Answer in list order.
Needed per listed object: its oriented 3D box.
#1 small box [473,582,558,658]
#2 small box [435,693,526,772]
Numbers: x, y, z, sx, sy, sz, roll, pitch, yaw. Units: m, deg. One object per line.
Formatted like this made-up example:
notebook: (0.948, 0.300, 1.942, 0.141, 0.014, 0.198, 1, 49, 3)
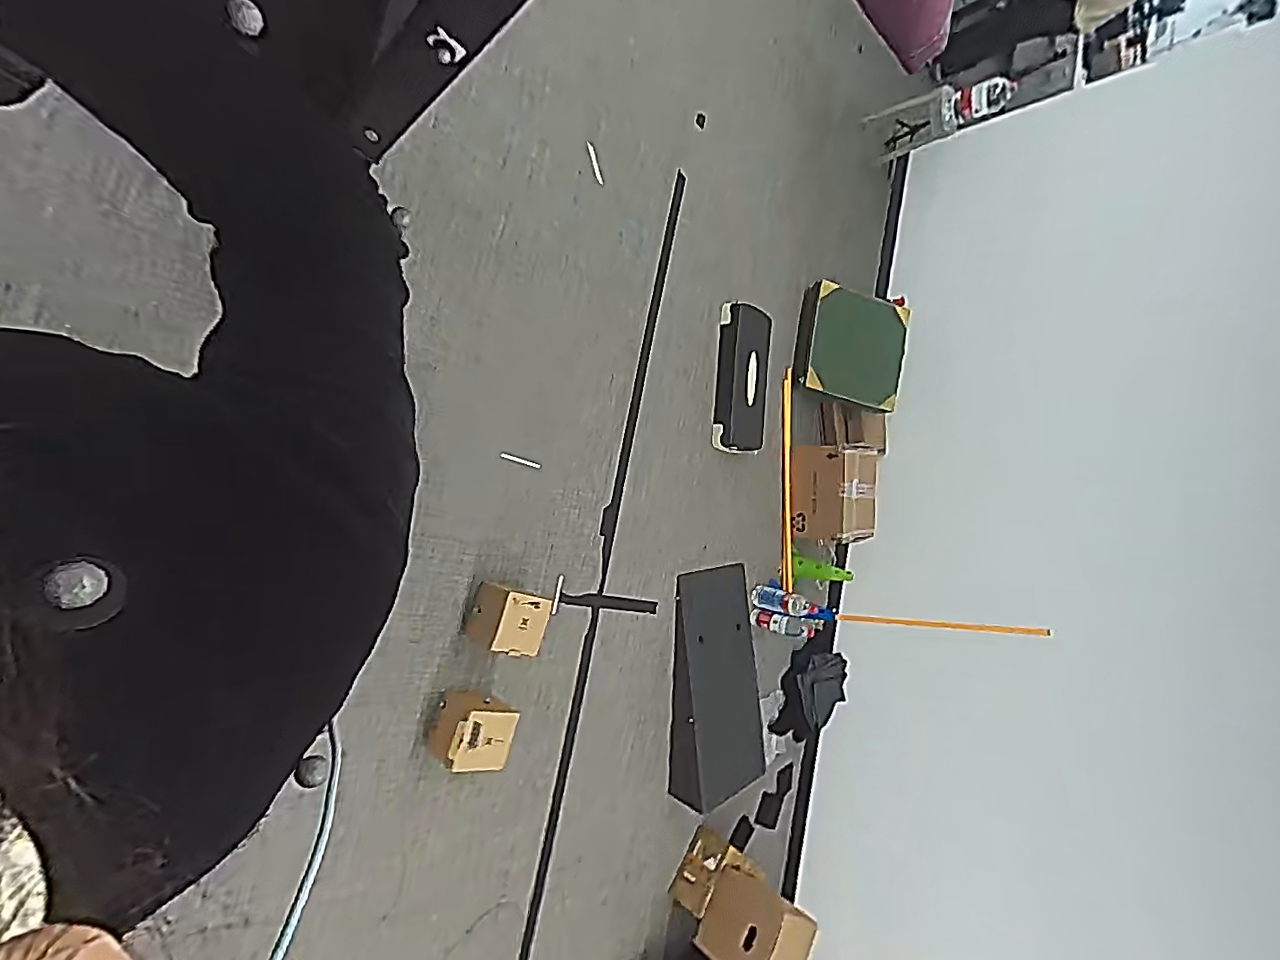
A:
small box: (-0.387, 0.427, 1.658, 0.168, 0.176, 0.179, 26, 75, -43)
small box: (-0.473, 0.742, 1.597, 0.179, 0.176, 0.168, 27, 75, -43)
